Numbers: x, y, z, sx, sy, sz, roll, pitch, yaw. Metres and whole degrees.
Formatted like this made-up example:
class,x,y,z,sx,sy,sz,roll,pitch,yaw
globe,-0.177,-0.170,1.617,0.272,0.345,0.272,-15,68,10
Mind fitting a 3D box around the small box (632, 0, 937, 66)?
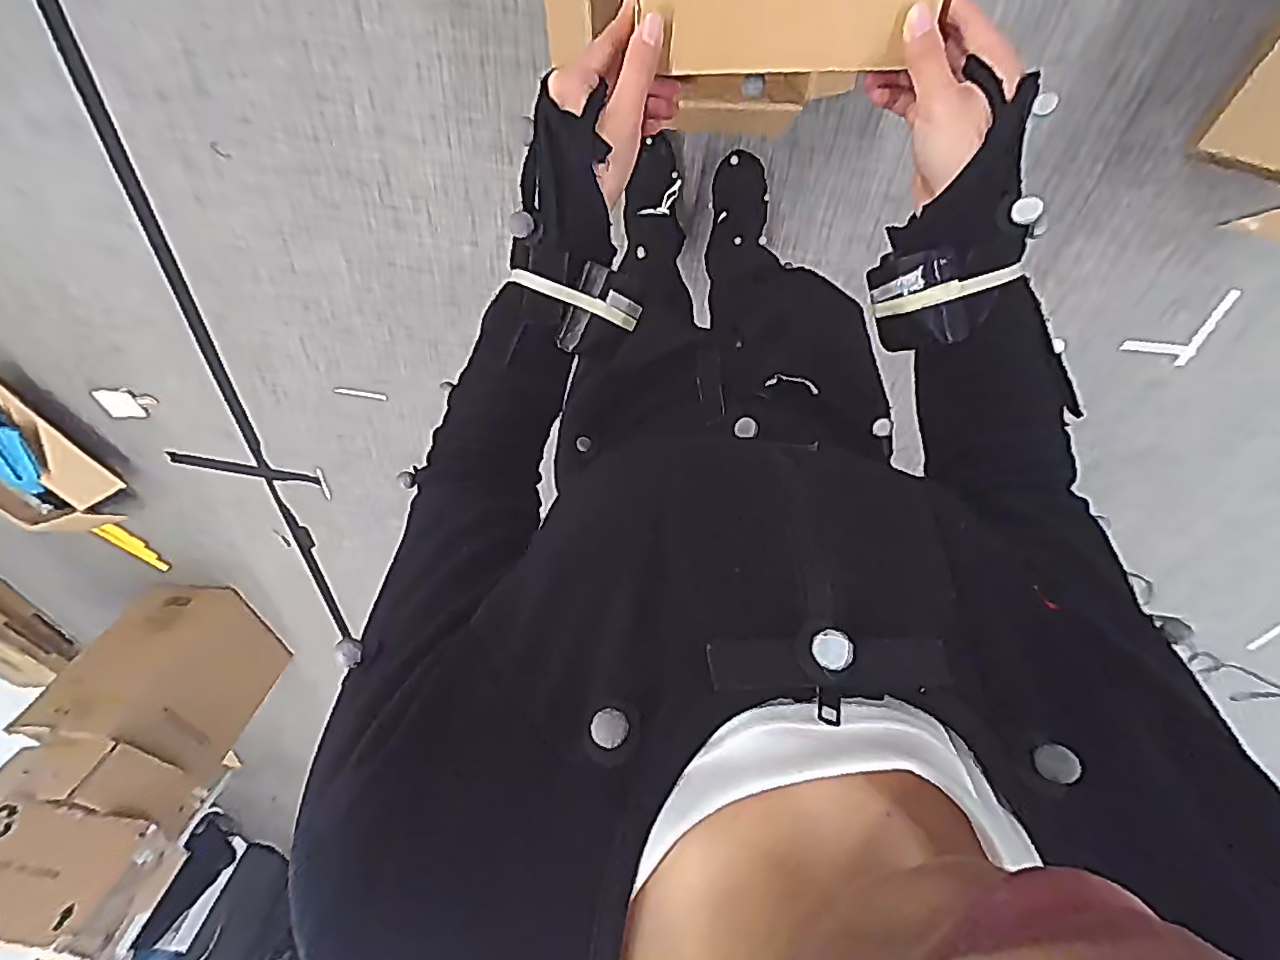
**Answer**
class,x,y,z,sx,sy,sz,roll,pitch,yaw
small box,0.082,-0.366,0.330,0.179,0.176,0.168,0,132,1
